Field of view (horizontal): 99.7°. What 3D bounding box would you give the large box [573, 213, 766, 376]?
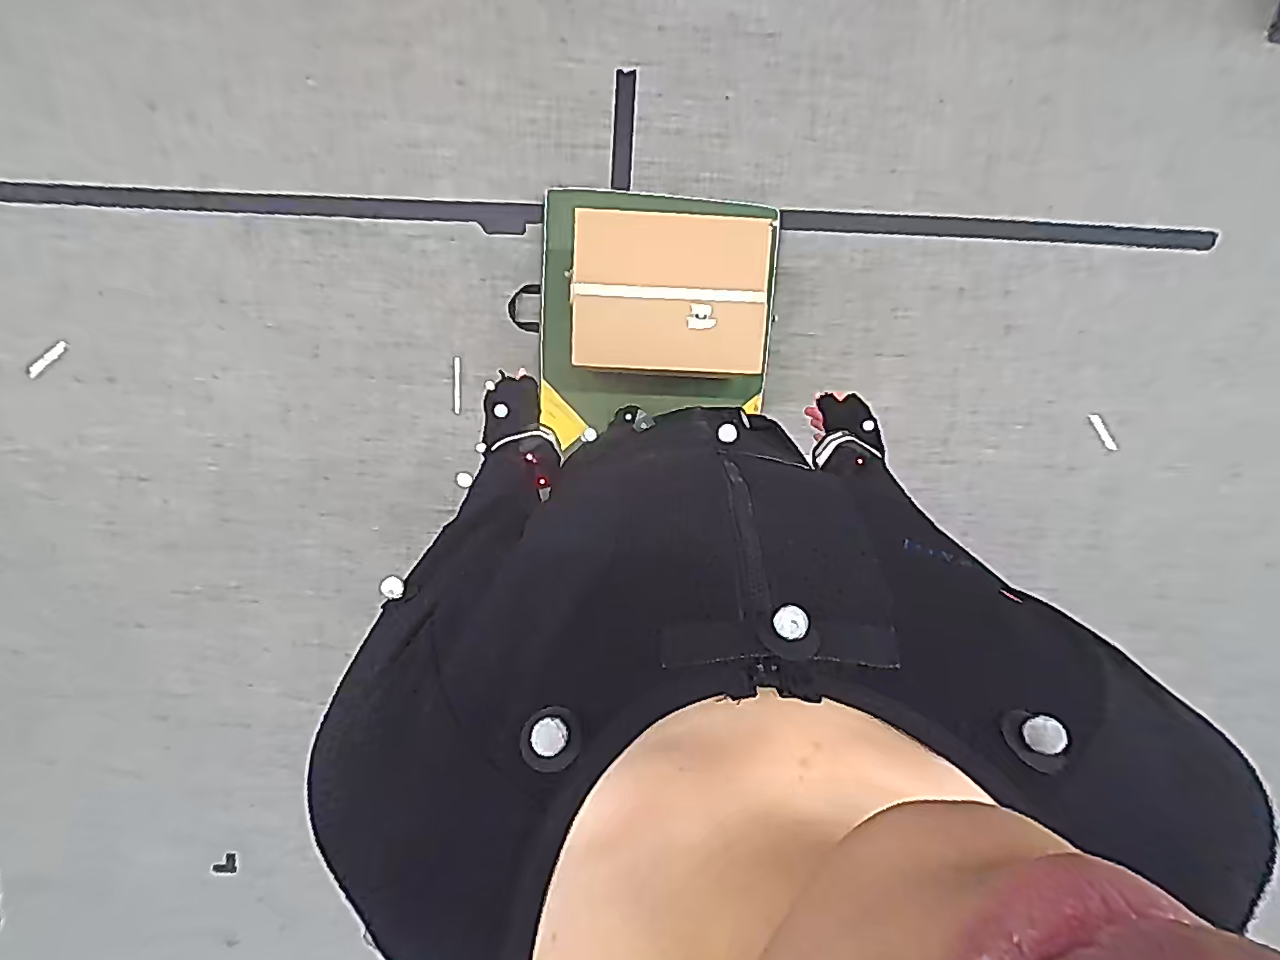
[{"bbox_3d":[0.052,-0.412,1.278,0.408,0.320,0.320,1,99,-3],"label":"large box"}]
